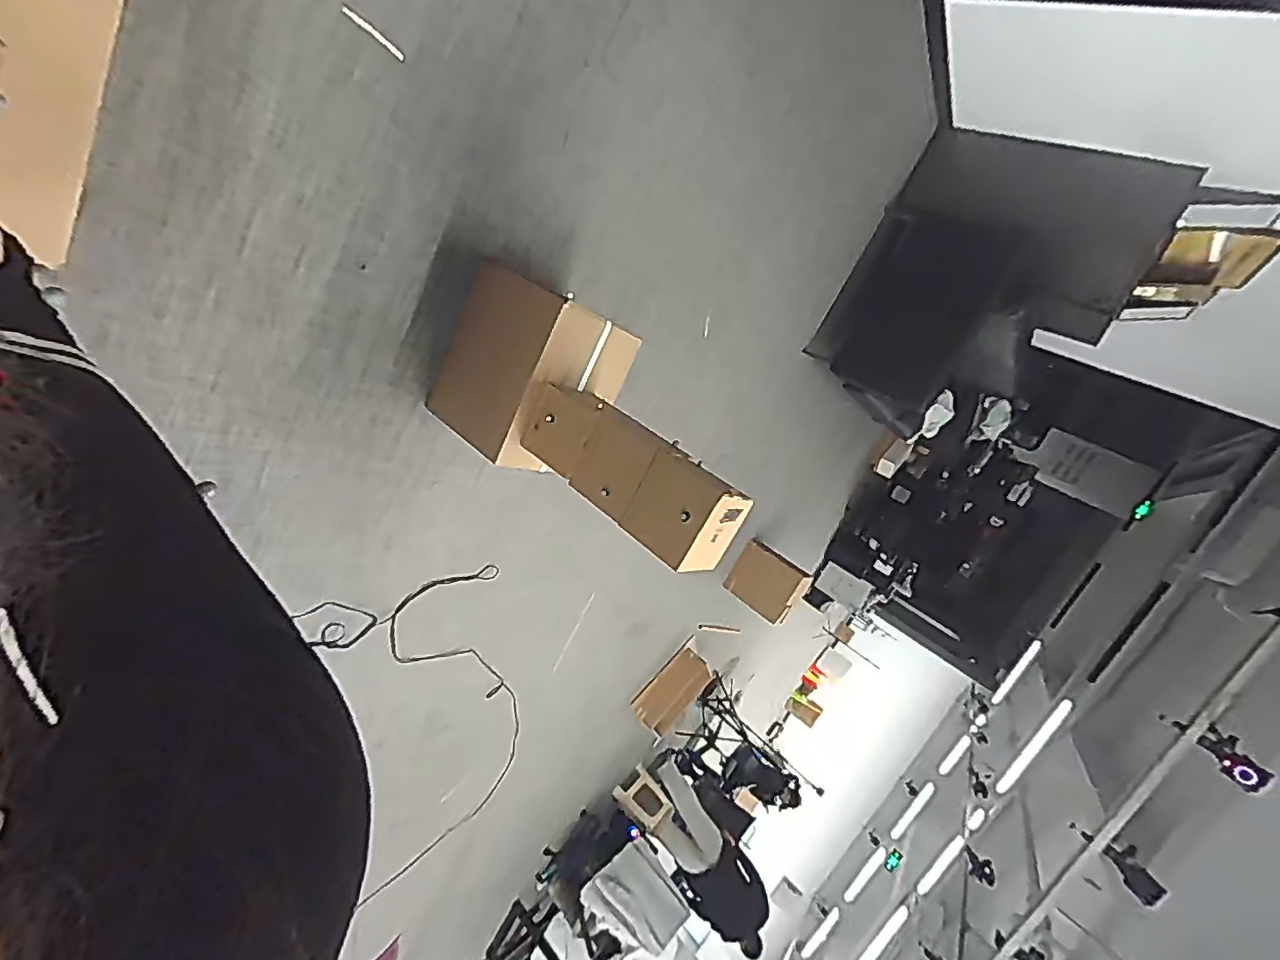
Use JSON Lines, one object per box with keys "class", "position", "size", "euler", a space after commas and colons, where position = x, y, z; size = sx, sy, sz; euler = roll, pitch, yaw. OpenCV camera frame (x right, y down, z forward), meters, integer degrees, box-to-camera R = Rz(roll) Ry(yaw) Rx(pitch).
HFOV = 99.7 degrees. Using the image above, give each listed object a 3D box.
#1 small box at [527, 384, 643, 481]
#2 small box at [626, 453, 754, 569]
{"class": "small box", "position": [-0.130, -0.112, 1.277], "size": [0.179, 0.176, 0.168], "euler": [5, 116, -55]}
{"class": "small box", "position": [0.100, 0.062, 1.118], "size": [0.168, 0.176, 0.179], "euler": [10, 113, -56]}
